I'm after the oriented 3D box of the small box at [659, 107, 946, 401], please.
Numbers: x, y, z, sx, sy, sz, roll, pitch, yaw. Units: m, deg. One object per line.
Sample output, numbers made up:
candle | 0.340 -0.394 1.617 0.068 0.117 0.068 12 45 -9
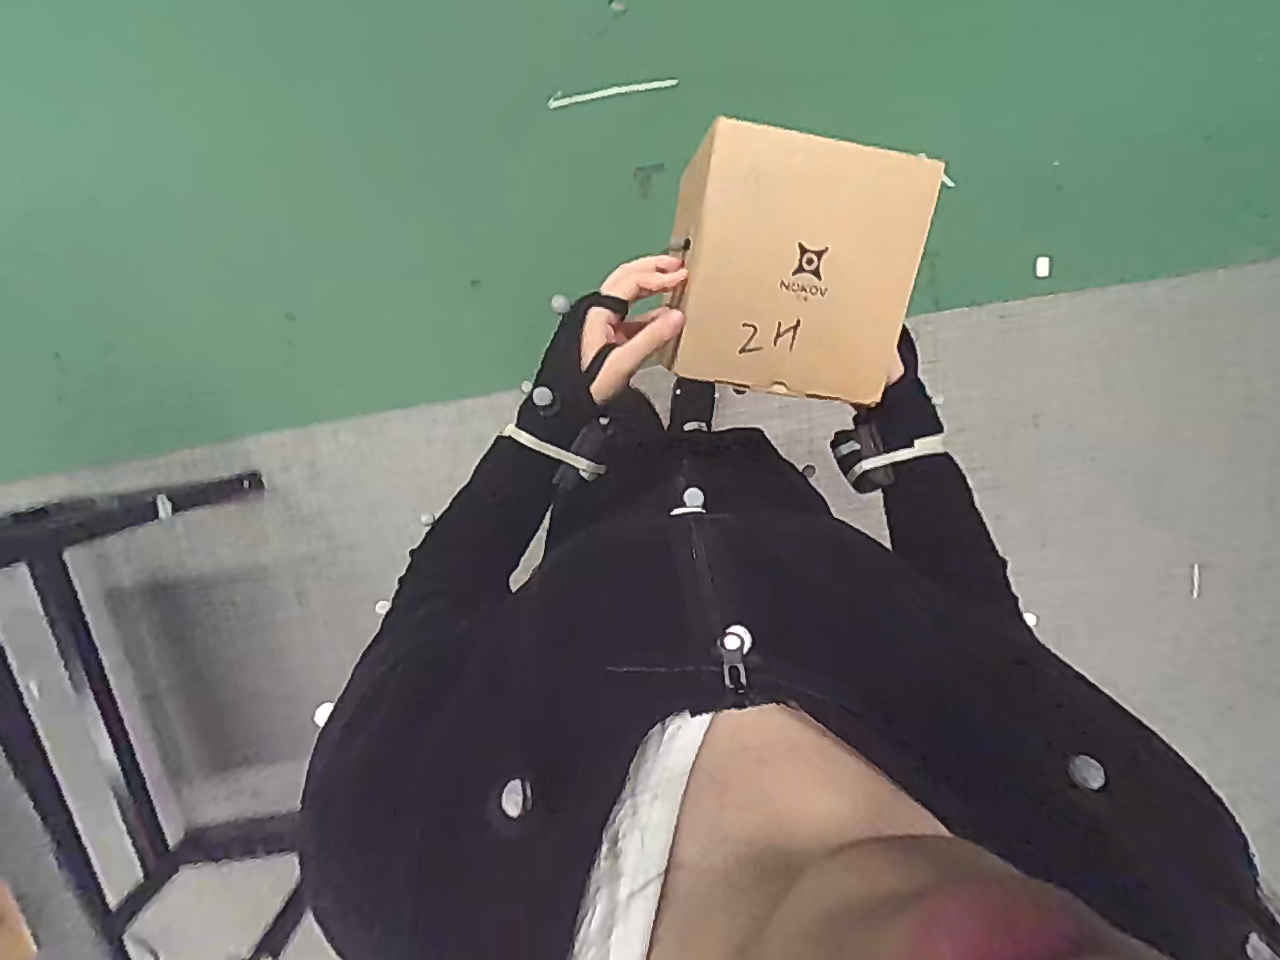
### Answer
small box | 0.114 -0.173 0.460 0.168 0.176 0.179 6 105 -7
